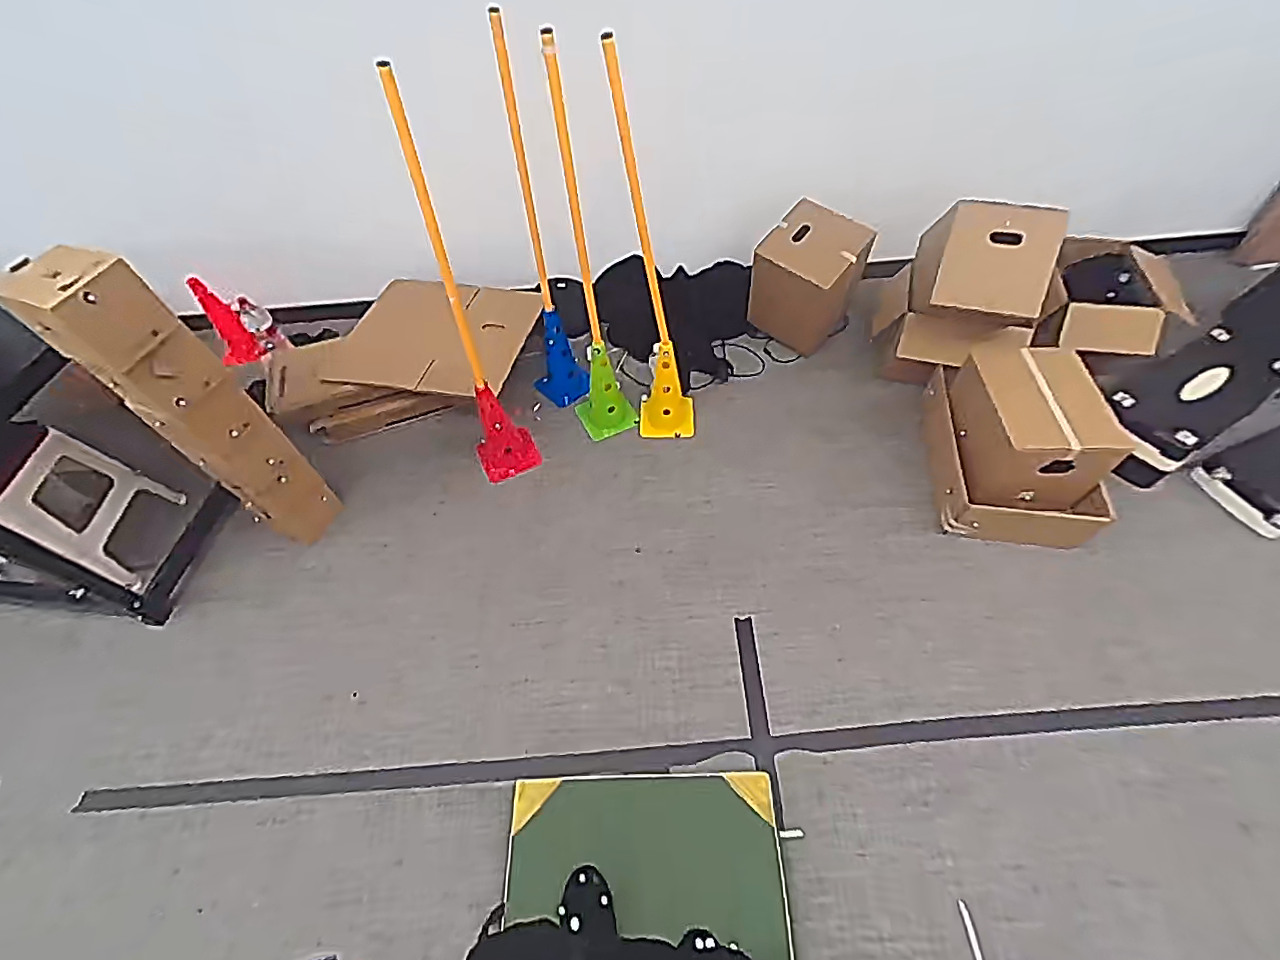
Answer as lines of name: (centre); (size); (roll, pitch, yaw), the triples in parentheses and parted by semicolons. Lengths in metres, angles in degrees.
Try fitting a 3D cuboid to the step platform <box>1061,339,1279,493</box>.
step platform: (1.823, -0.233, 1.861); (0.684, 0.204, 0.286); (-28, 58, -15)
